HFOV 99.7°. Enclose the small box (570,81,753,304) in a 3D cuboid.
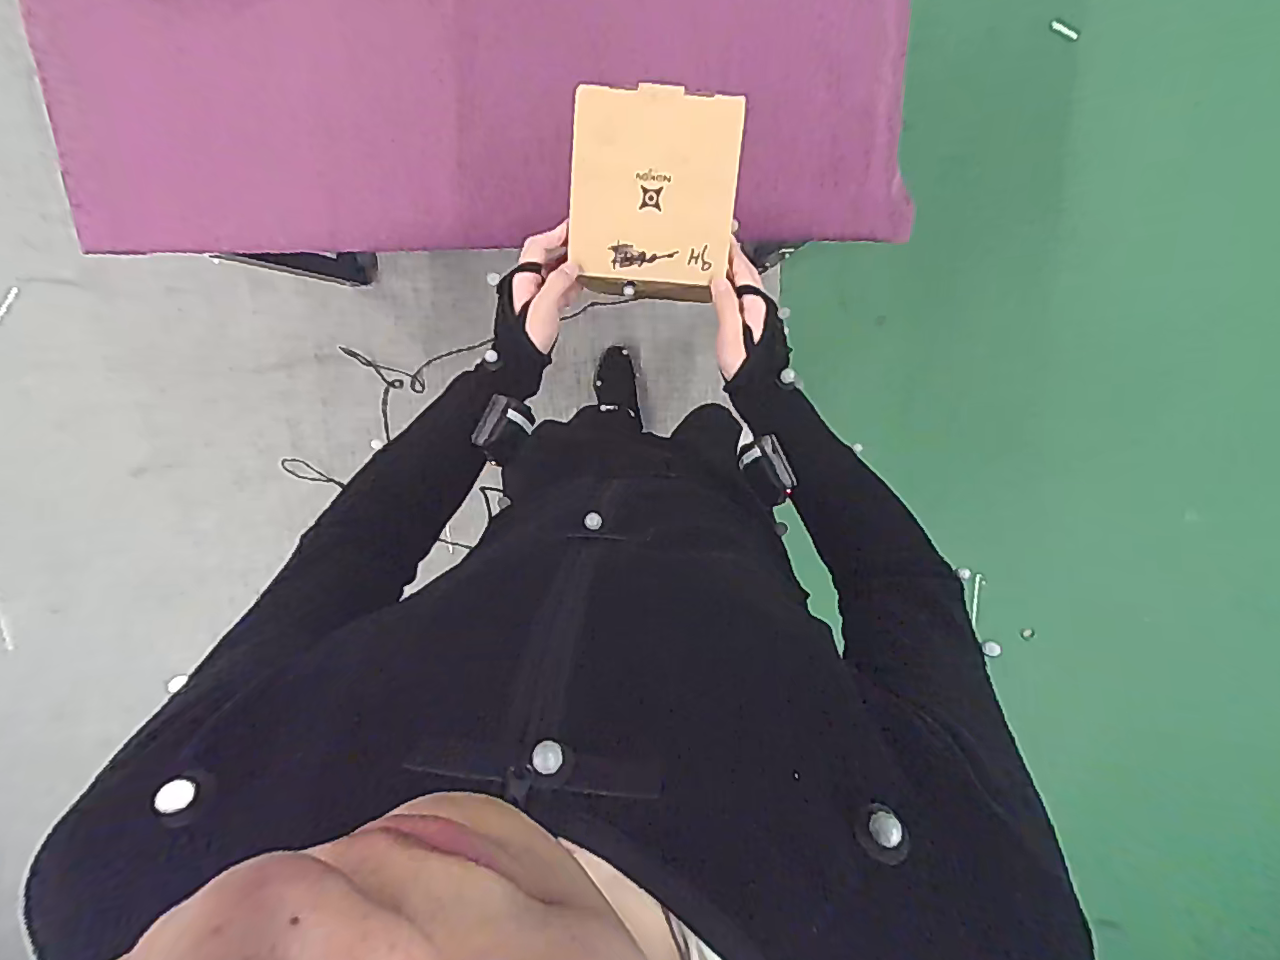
[{"bbox_3d":[0.021,-0.304,0.607,0.168,0.176,0.179,6,104,1],"label":"small box"}]
